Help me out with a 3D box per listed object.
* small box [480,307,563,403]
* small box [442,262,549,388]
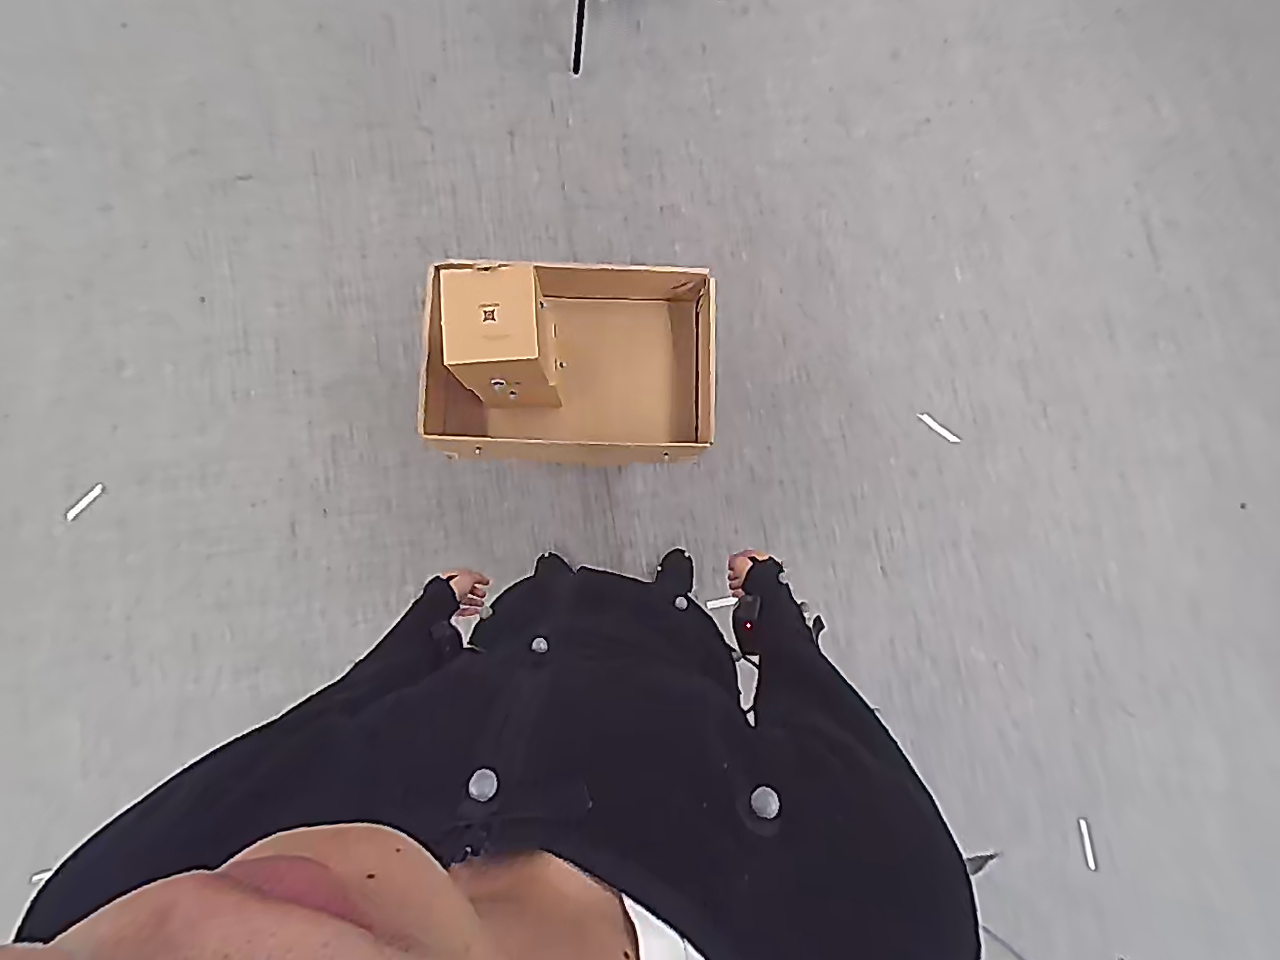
[{"bbox_3d":[-0.266,-0.268,1.186,0.179,0.176,0.168,-2,84,-4],"label":"small box"},{"bbox_3d":[-0.267,-0.287,1.023,0.168,0.176,0.179,-4,83,-3],"label":"small box"}]
